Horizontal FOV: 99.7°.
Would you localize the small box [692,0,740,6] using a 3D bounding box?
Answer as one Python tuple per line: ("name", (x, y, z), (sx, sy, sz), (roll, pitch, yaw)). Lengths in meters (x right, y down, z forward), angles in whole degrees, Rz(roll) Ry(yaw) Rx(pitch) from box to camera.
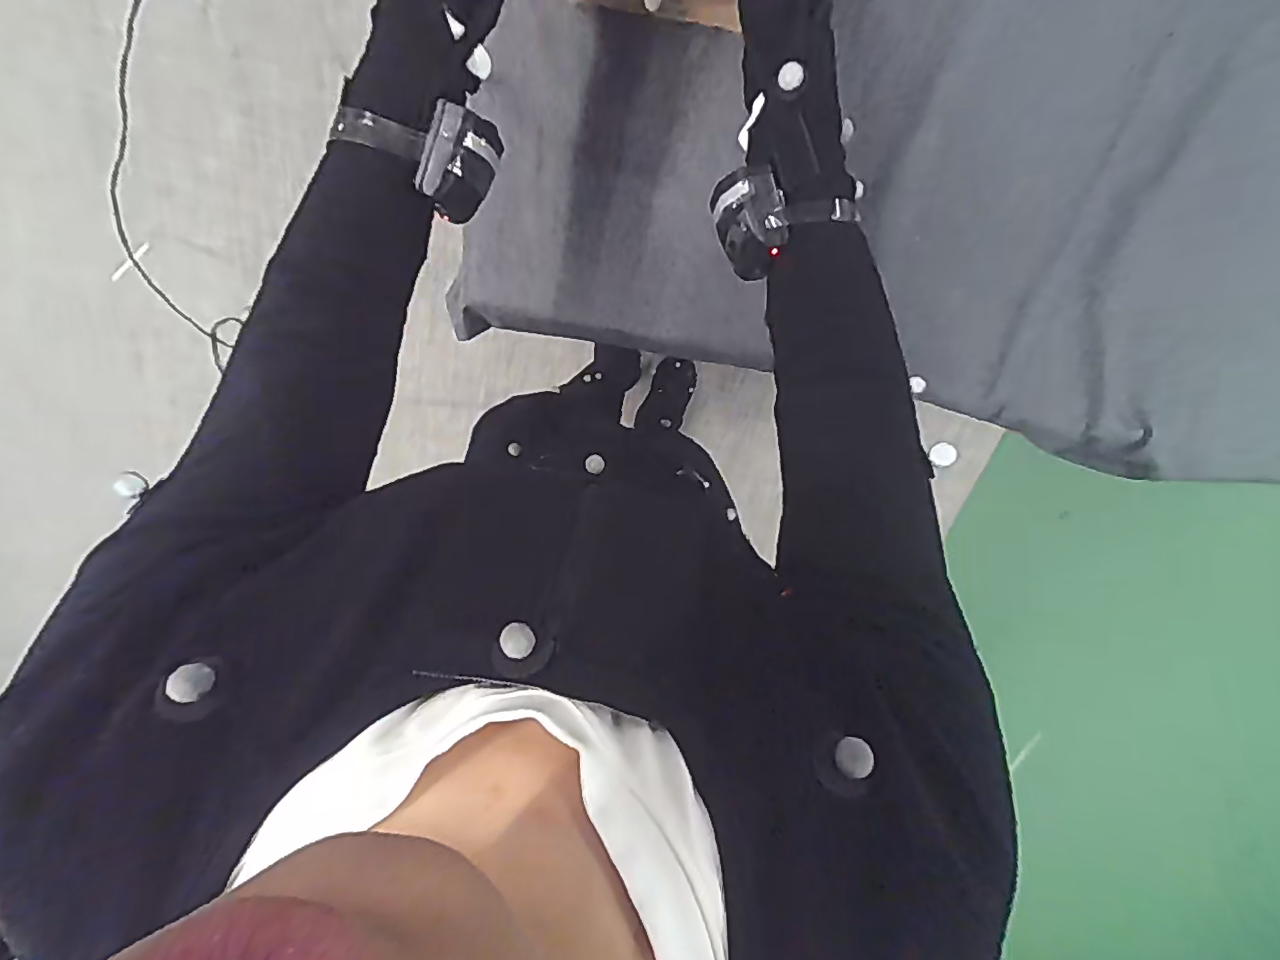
("small box", (0.020, -0.482, 0.388), (0.168, 0.176, 0.179), (9, 118, 0))
